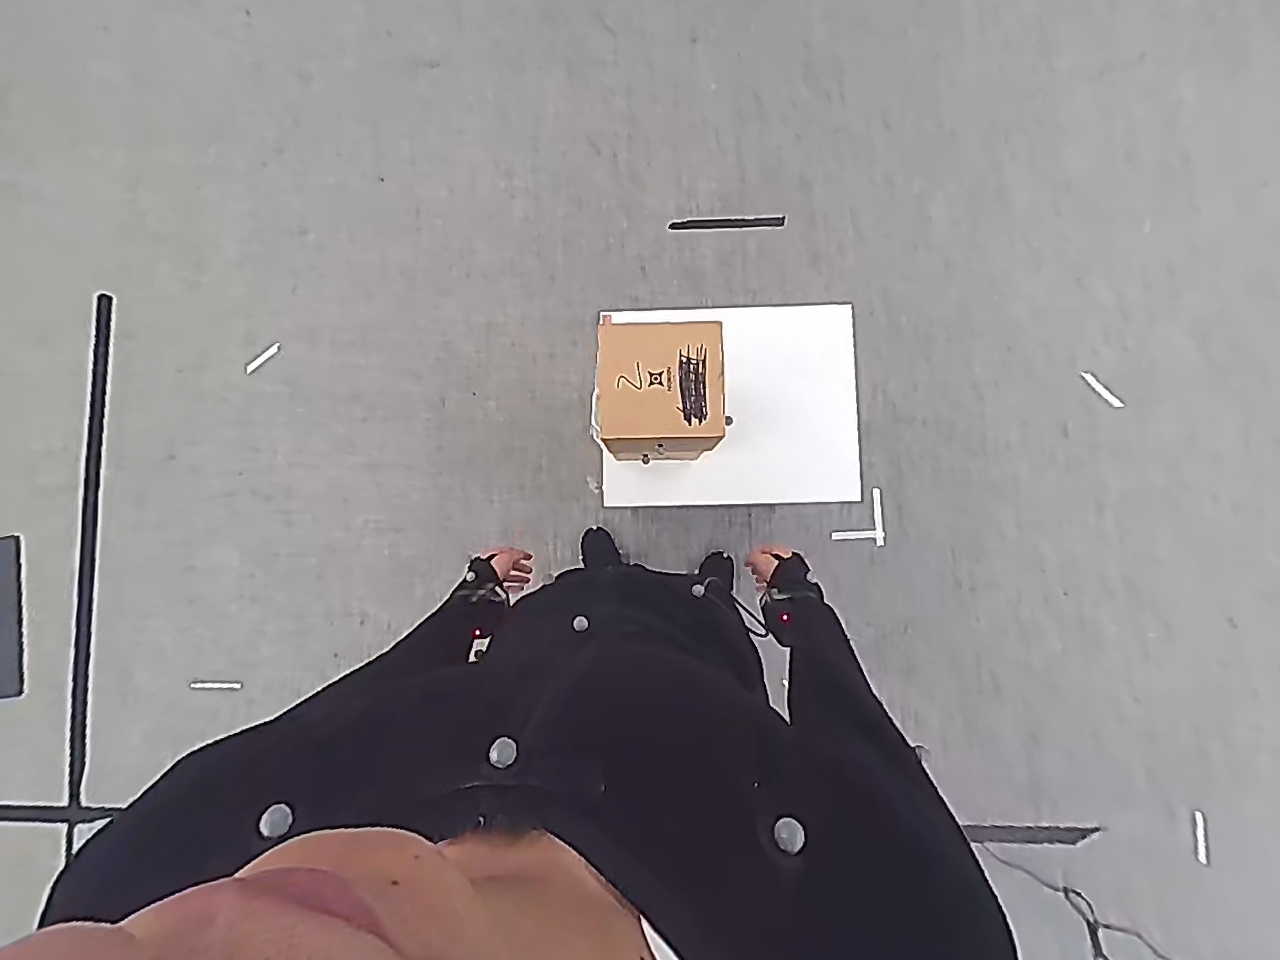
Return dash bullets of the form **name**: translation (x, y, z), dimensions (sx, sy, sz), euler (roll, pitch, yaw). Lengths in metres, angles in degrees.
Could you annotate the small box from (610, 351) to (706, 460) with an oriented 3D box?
- **small box**: translation (0.033, -0.130, 0.996), dimensions (0.168, 0.176, 0.179), euler (0, 86, 1)
